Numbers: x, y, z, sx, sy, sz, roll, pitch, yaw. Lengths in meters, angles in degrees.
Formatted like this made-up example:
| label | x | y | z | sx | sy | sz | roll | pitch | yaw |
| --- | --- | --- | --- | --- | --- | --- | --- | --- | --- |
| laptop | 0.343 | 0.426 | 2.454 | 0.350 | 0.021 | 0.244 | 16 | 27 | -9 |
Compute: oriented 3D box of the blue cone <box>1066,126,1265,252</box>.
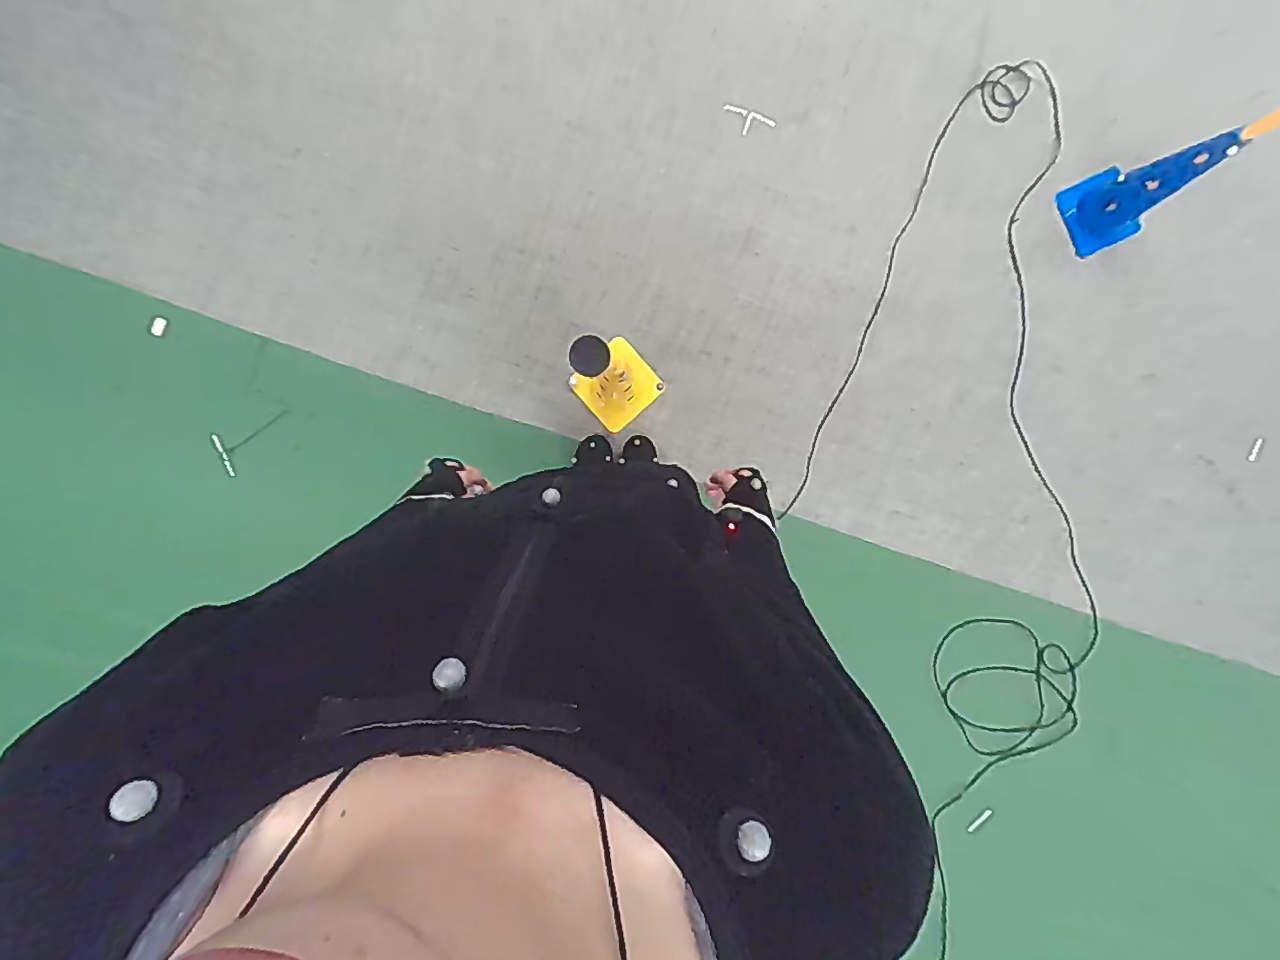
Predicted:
| label | x | y | z | sx | sy | sz | roll | pitch | yaw |
| --- | --- | --- | --- | --- | --- | --- | --- | --- | --- |
| blue cone | 1.299 | -0.749 | 1.334 | 0.193 | 0.380 | 0.192 | -27 | 93 | -3 |
